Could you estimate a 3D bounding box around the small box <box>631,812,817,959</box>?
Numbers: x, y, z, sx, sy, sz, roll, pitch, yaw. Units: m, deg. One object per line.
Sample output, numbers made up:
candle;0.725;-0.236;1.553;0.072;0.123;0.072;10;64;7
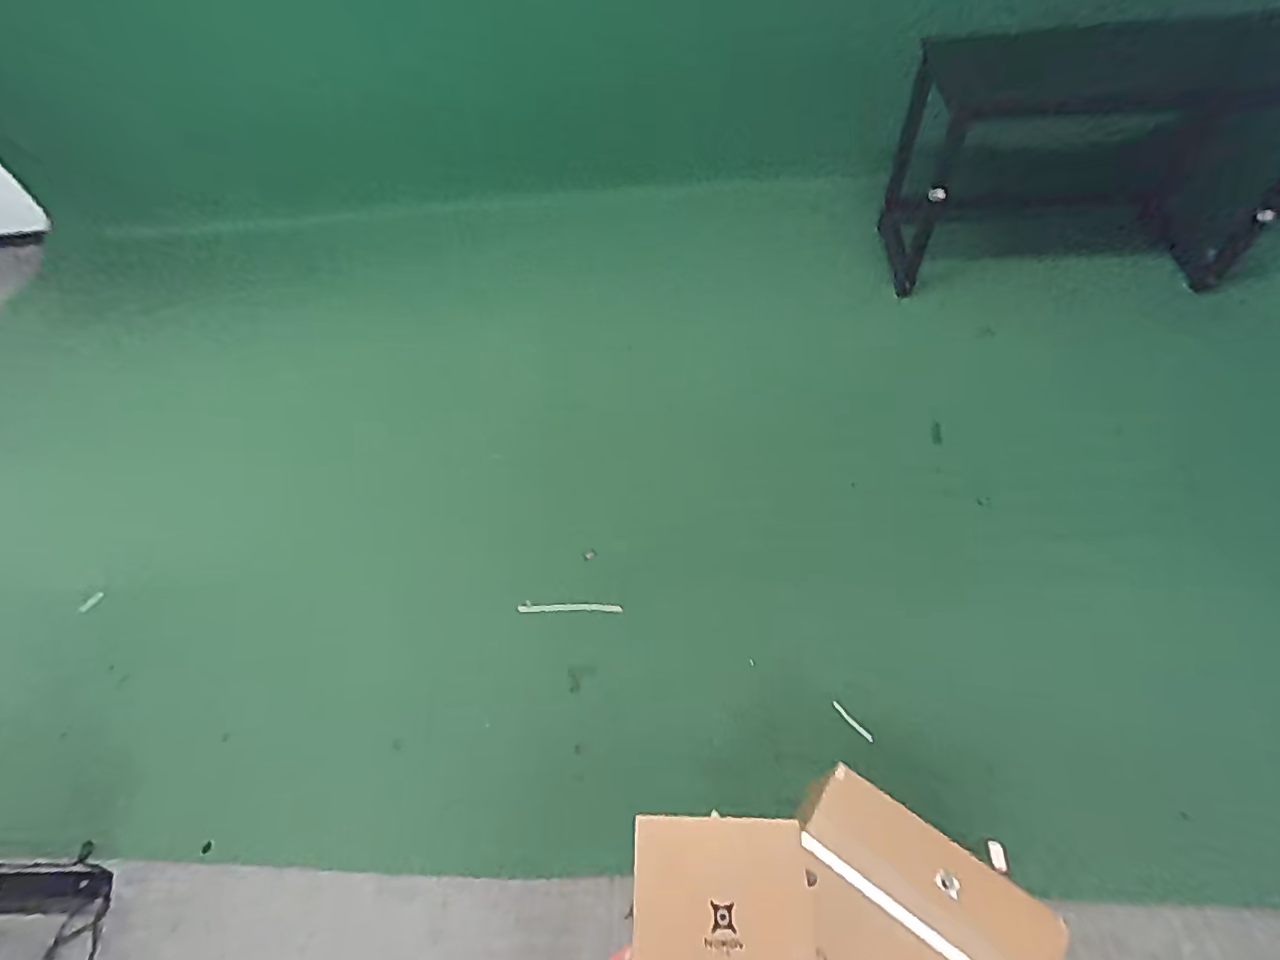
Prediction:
small box;0.075;0.451;0.547;0.168;0.176;0.179;0;52;2
